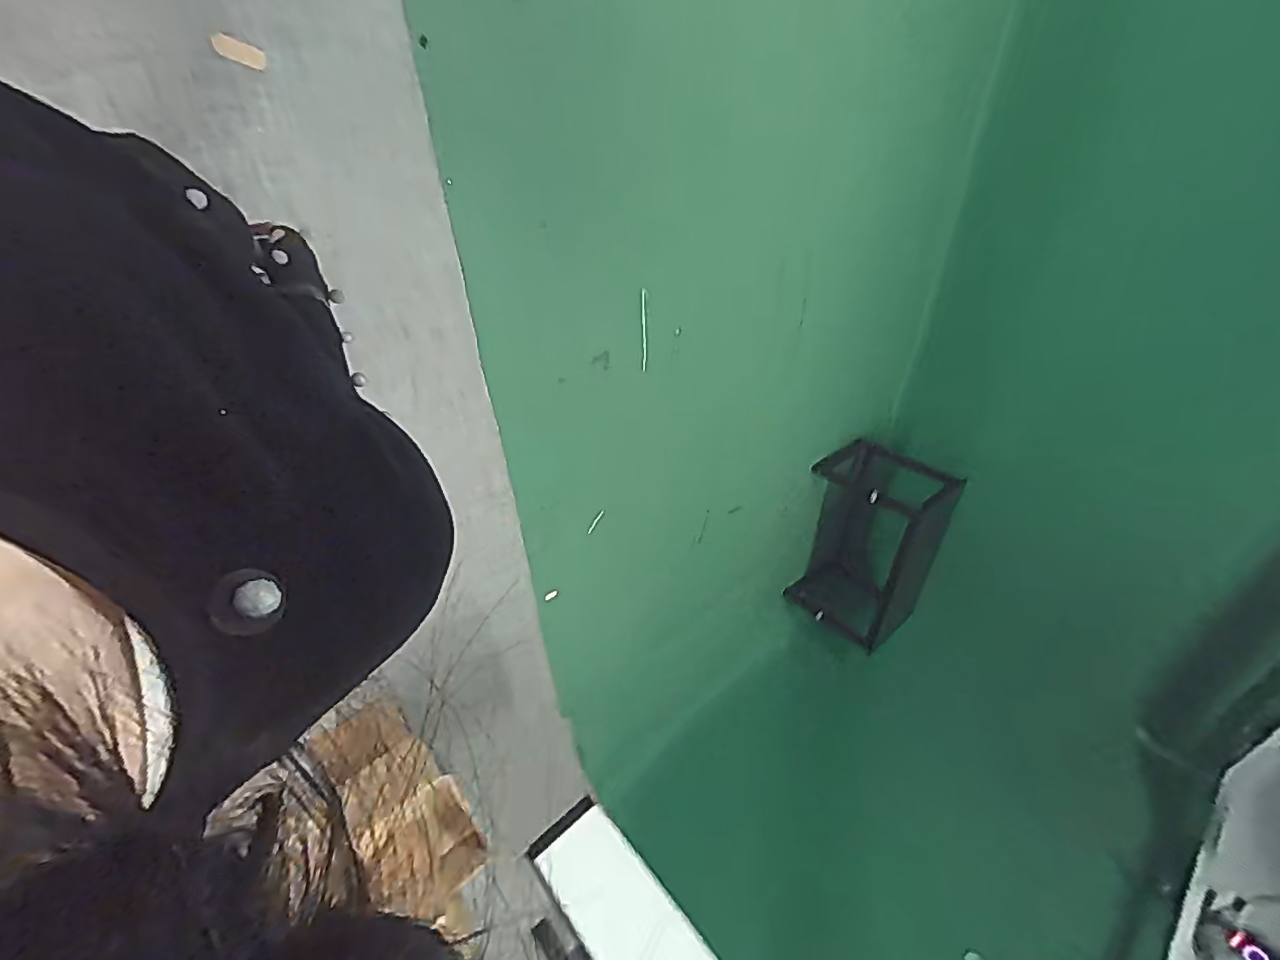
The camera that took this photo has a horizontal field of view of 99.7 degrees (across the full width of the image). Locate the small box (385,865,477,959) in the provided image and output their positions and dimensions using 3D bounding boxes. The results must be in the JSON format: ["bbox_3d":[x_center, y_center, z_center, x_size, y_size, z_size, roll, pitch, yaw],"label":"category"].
[{"bbox_3d":[-0.614,1.276,1.581,0.168,0.176,0.179,-35,134,-27],"label":"small box"}]

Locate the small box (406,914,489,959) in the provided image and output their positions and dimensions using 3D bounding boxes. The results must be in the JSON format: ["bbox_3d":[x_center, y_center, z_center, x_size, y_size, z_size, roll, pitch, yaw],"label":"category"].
[{"bbox_3d":[-0.512,1.340,1.471,0.168,0.176,0.179,-32,132,-28],"label":"small box"}]
